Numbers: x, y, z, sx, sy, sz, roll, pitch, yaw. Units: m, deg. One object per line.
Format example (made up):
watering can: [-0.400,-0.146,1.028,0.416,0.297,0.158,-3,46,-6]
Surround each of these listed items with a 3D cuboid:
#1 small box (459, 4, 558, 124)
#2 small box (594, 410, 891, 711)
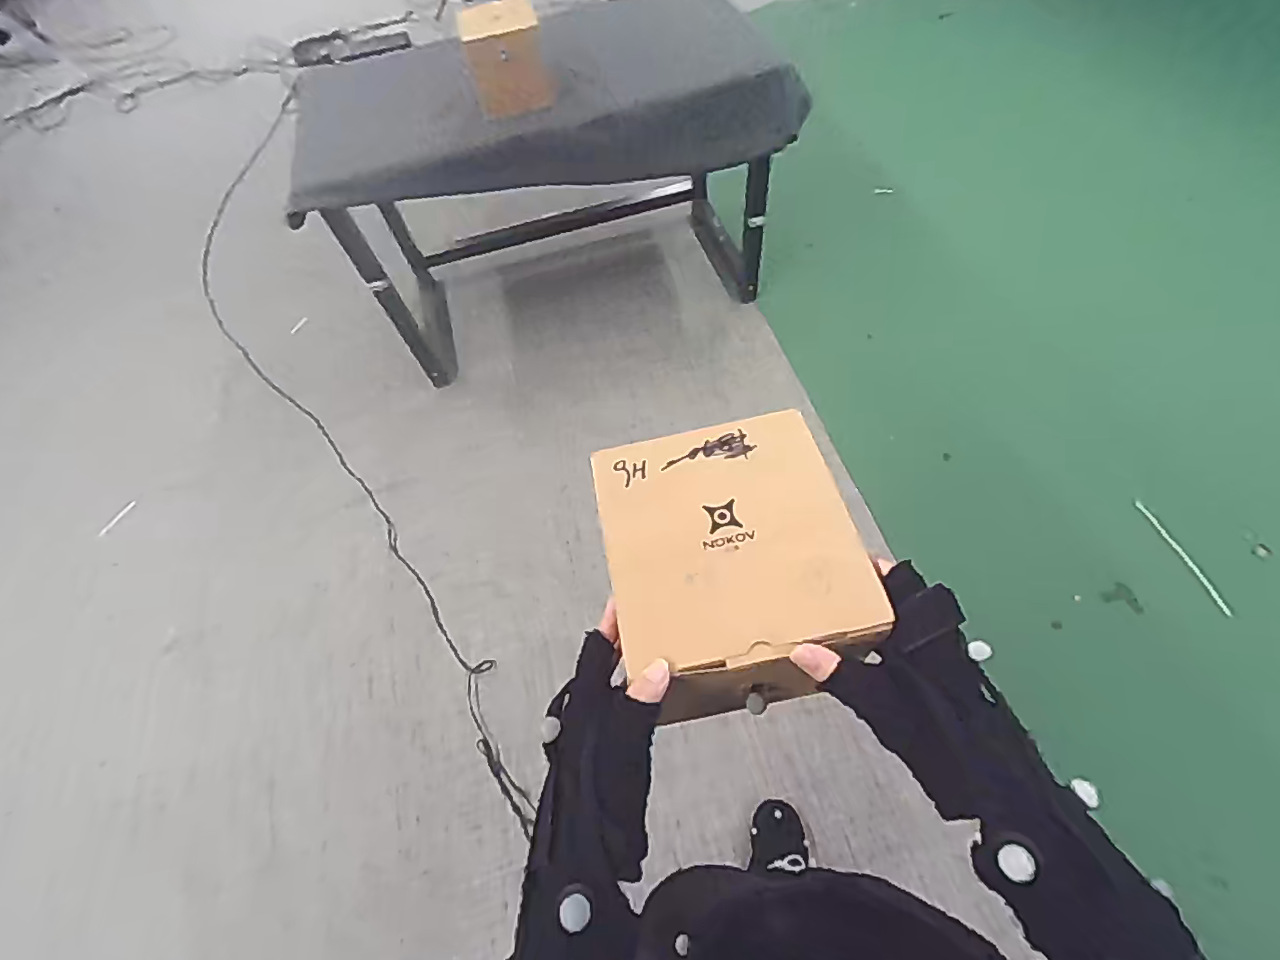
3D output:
small box: [-0.308,-0.979,1.282,0.179,0.176,0.168,-15,60,-4]
small box: [0.068,0.076,0.435,0.168,0.176,0.179,-12,58,-1]
